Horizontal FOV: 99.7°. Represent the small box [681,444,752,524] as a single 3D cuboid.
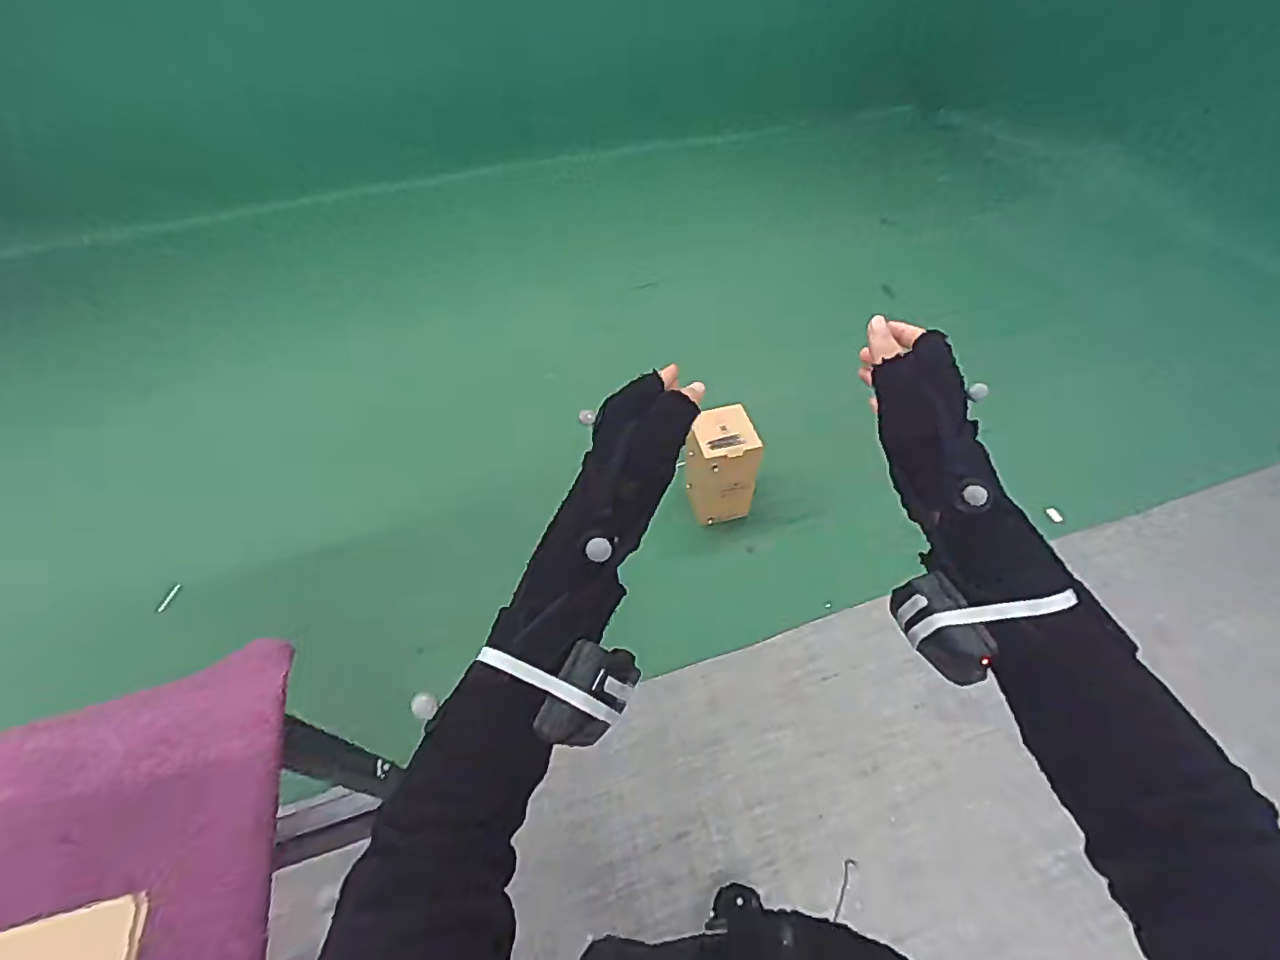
[{"bbox_3d":[0.234,0.019,1.696,0.168,0.176,0.179,-15,55,-10],"label":"small box"}]
